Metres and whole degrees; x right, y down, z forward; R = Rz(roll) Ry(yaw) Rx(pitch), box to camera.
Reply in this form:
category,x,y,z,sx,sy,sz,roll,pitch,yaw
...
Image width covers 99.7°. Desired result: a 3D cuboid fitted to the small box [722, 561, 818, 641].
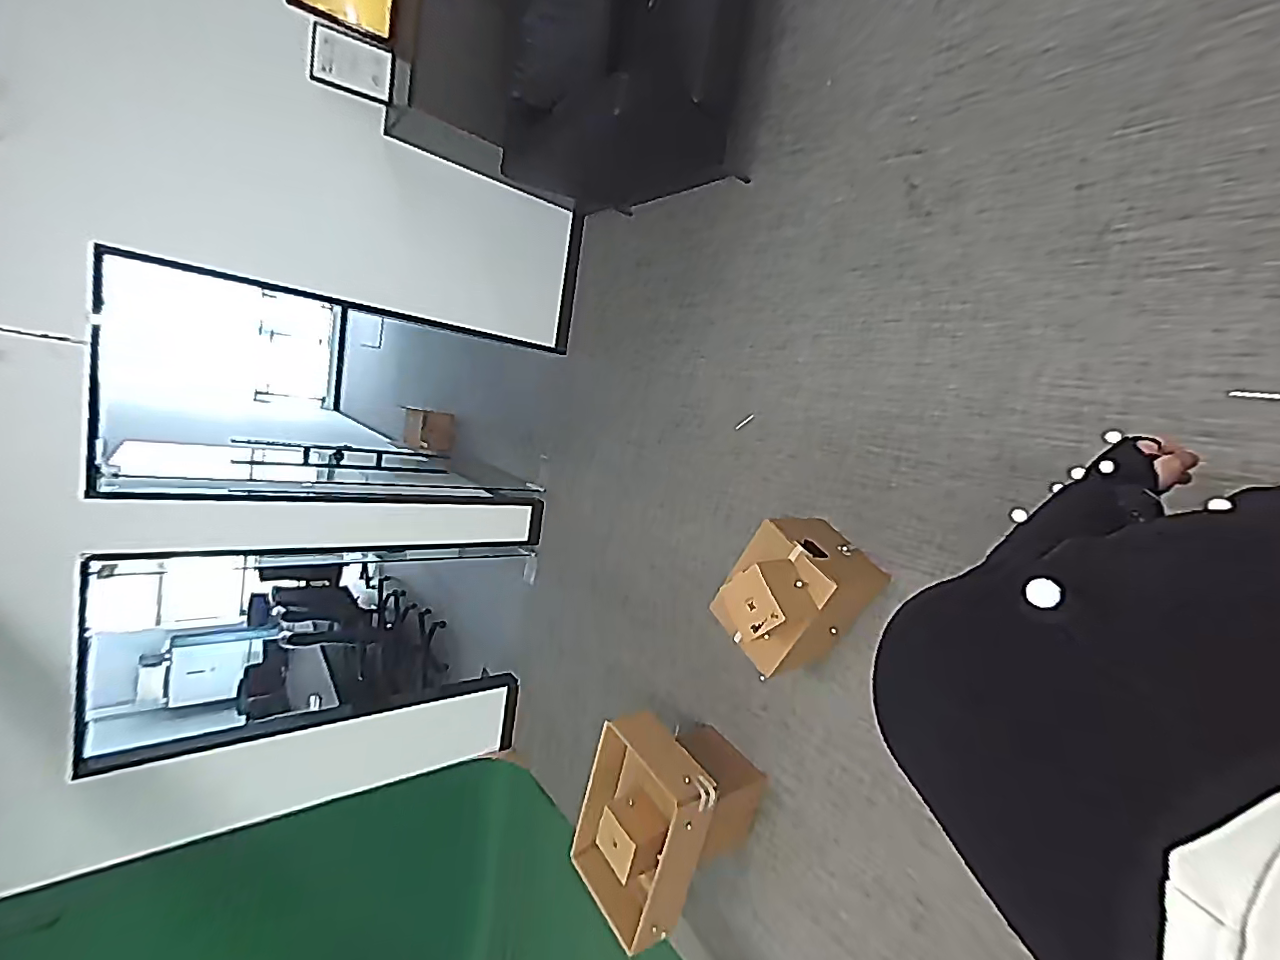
category,x,y,z,sx,sy,sz,roll,pitch,yaw
small box,0.376,0.345,1.562,0.168,0.176,0.179,-47,55,38

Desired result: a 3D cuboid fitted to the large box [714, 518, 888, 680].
category,x,y,z,sx,sy,sz,roll,pitch,yaw
large box,0.519,0.371,1.773,0.320,0.320,0.408,49,124,41
